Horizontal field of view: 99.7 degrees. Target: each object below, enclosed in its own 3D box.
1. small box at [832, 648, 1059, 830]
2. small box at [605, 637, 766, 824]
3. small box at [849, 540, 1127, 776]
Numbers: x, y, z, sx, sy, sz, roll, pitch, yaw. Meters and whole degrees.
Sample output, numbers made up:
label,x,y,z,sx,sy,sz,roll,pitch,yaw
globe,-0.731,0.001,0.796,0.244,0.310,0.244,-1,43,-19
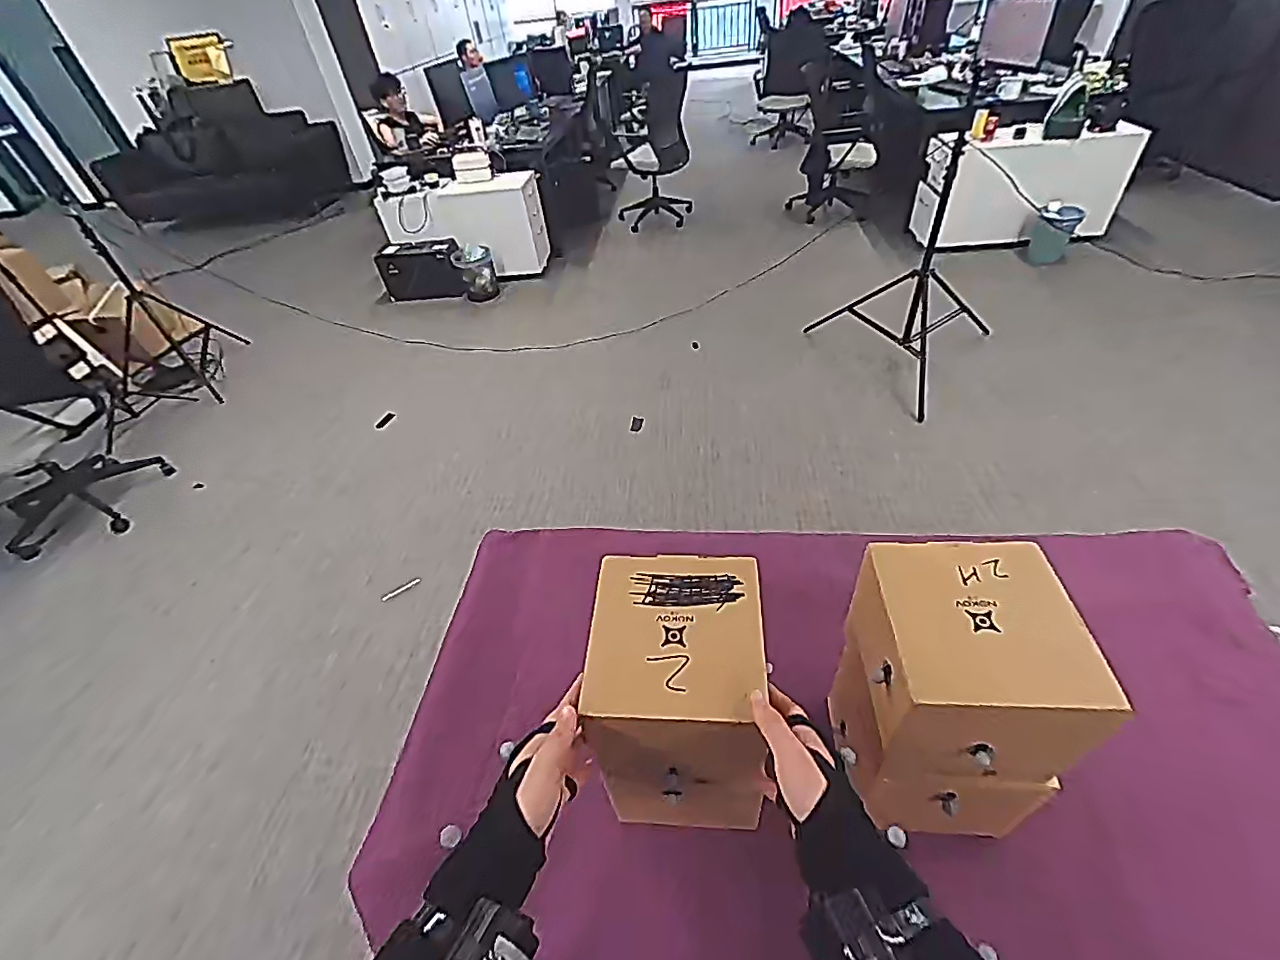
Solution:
label,x,y,z,sx,sy,sz,roll,pitch,yaw
small box,0.346,0.307,0.657,0.179,0.176,0.168,-1,43,8
small box,0.062,0.317,0.684,0.179,0.176,0.168,-1,43,7
small box,0.323,0.181,0.552,0.168,0.176,0.179,-1,43,8
